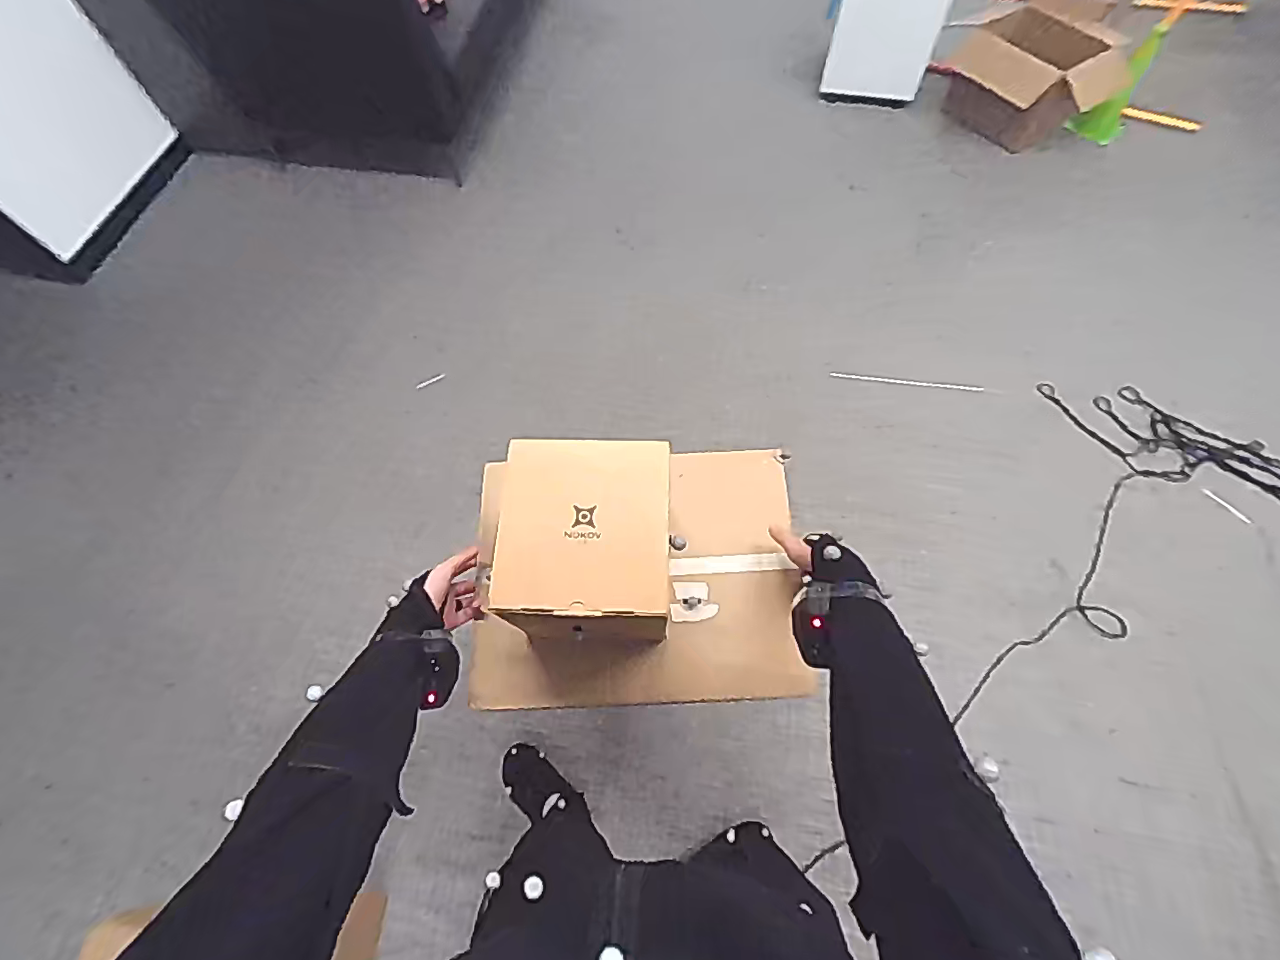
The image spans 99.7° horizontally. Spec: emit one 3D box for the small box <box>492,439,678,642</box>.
[{"bbox_3d":[-0.046,0.072,0.585,0.168,0.176,0.179,1,67,2],"label":"small box"}]

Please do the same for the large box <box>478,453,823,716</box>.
[{"bbox_3d":[0.006,0.172,0.806,0.408,0.320,0.320,-2,68,0],"label":"large box"}]
